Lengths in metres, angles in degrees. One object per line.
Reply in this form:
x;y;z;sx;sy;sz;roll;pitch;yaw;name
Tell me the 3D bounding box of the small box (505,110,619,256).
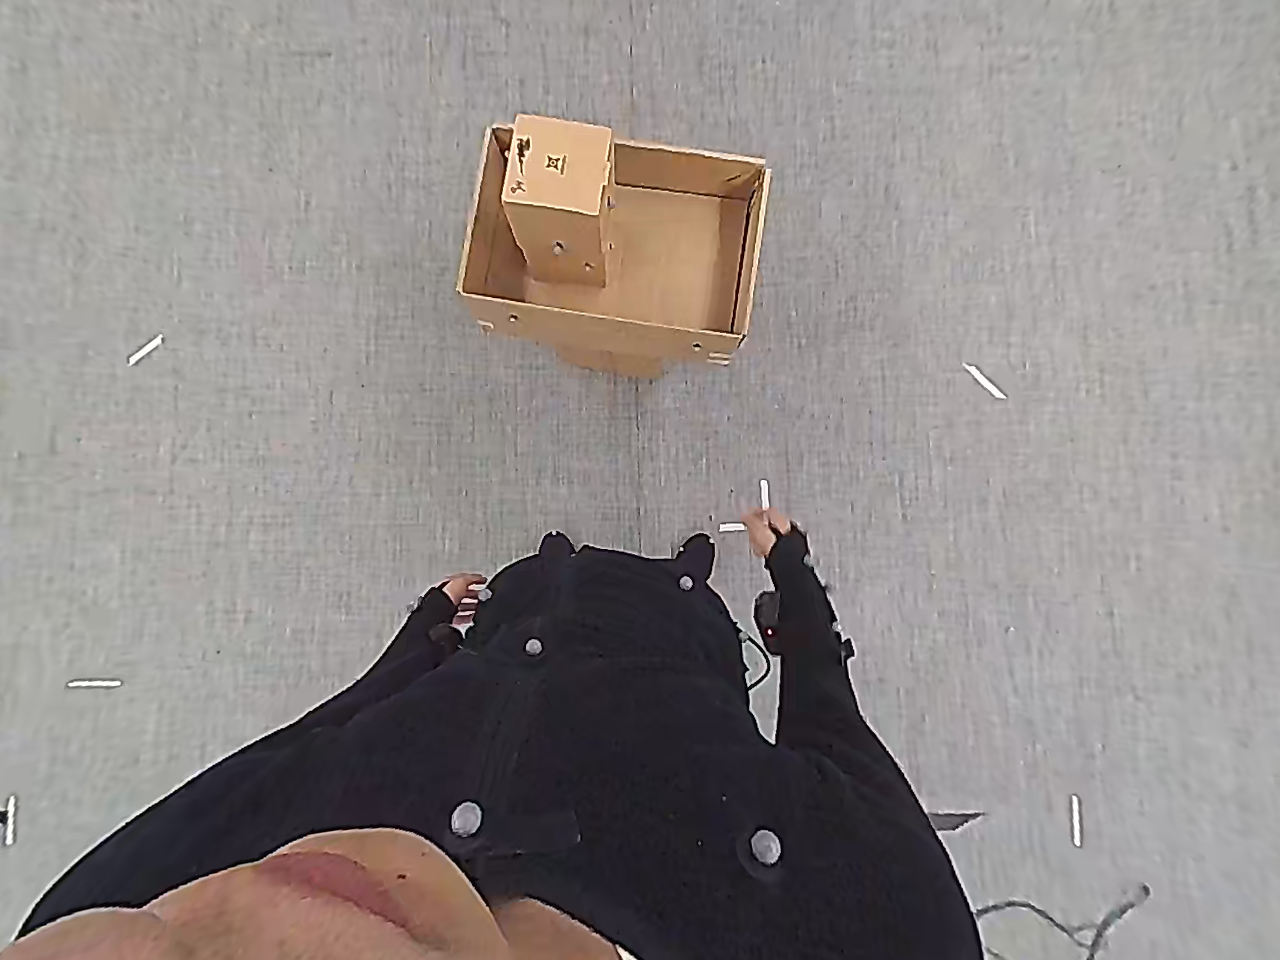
-0.140;-0.549;1.024;0.179;0.176;0.168;10;85;-2;small box
